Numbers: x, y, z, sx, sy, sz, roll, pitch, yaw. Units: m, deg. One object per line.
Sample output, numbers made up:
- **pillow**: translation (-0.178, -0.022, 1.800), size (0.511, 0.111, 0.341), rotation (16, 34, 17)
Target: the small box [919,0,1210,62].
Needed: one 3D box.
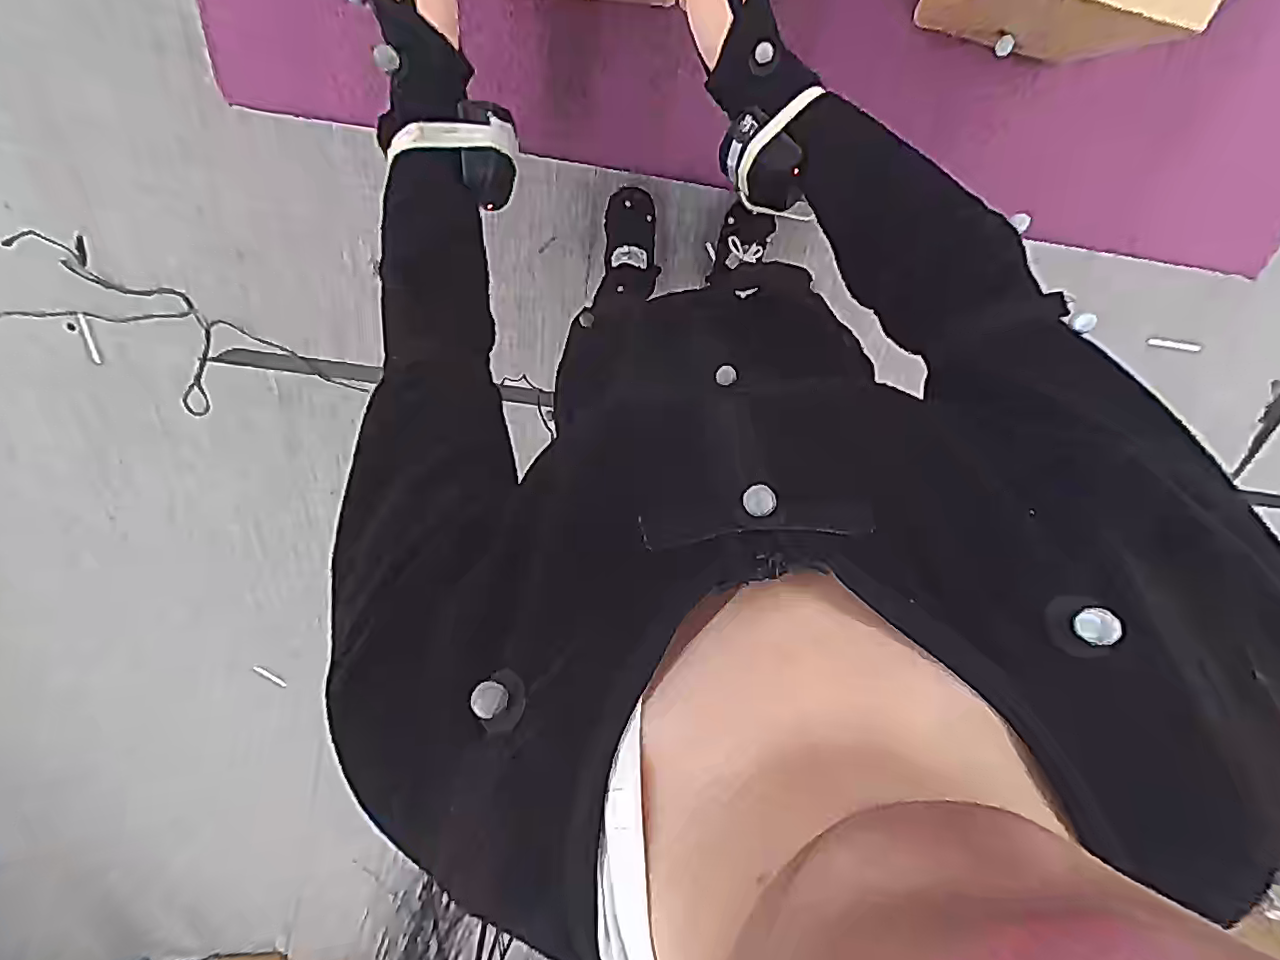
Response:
- **small box**: translation (0.365, -0.475, 0.438), size (0.168, 0.176, 0.179), rotation (10, 121, -7)
